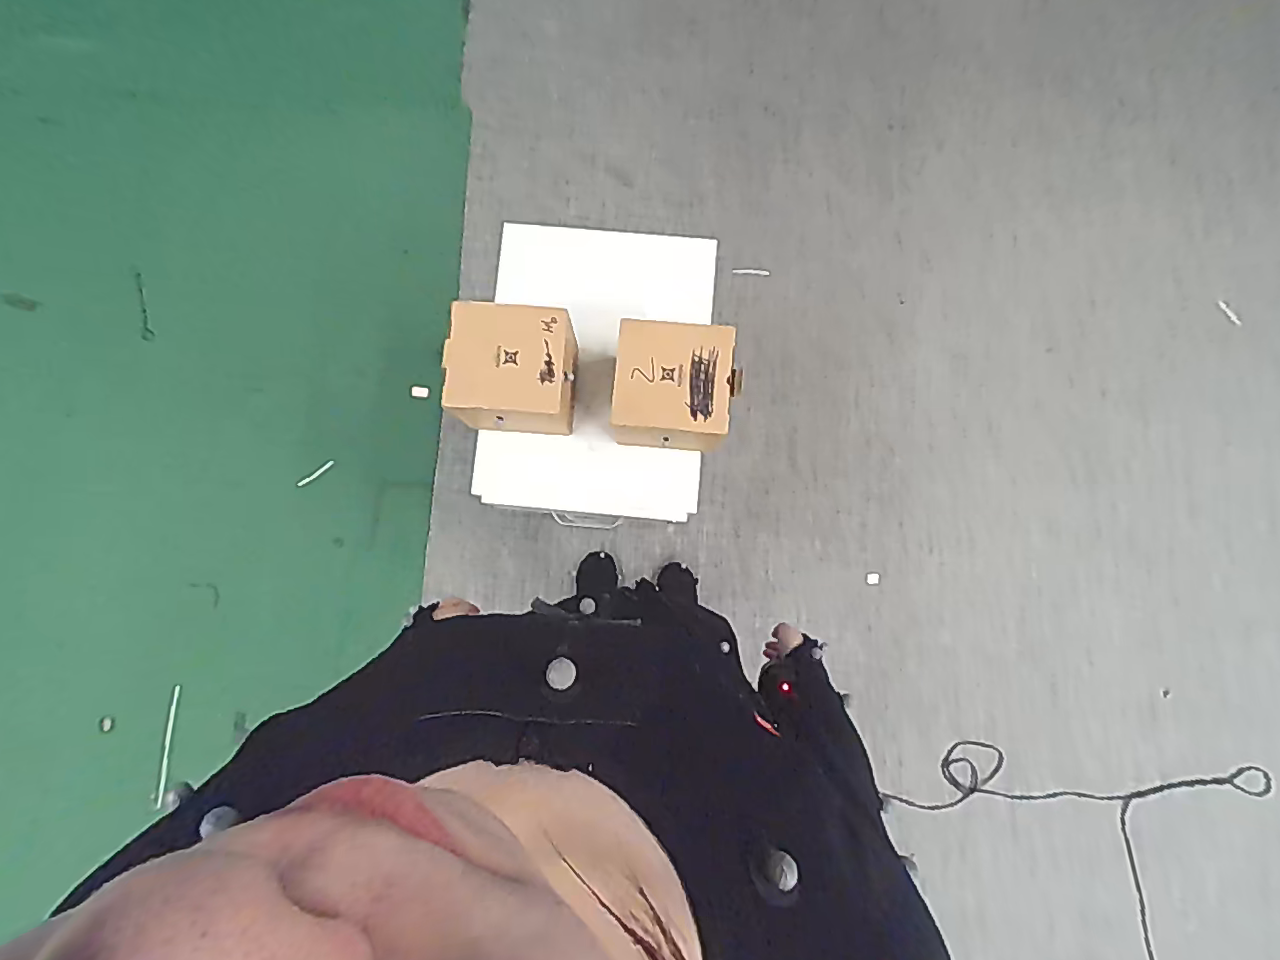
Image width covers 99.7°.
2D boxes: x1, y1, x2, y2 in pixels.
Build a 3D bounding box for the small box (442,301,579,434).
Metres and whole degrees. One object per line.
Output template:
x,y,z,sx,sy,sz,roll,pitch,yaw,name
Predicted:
-0.200,-0.174,0.882,0.179,0.176,0.168,4,84,0,small box
